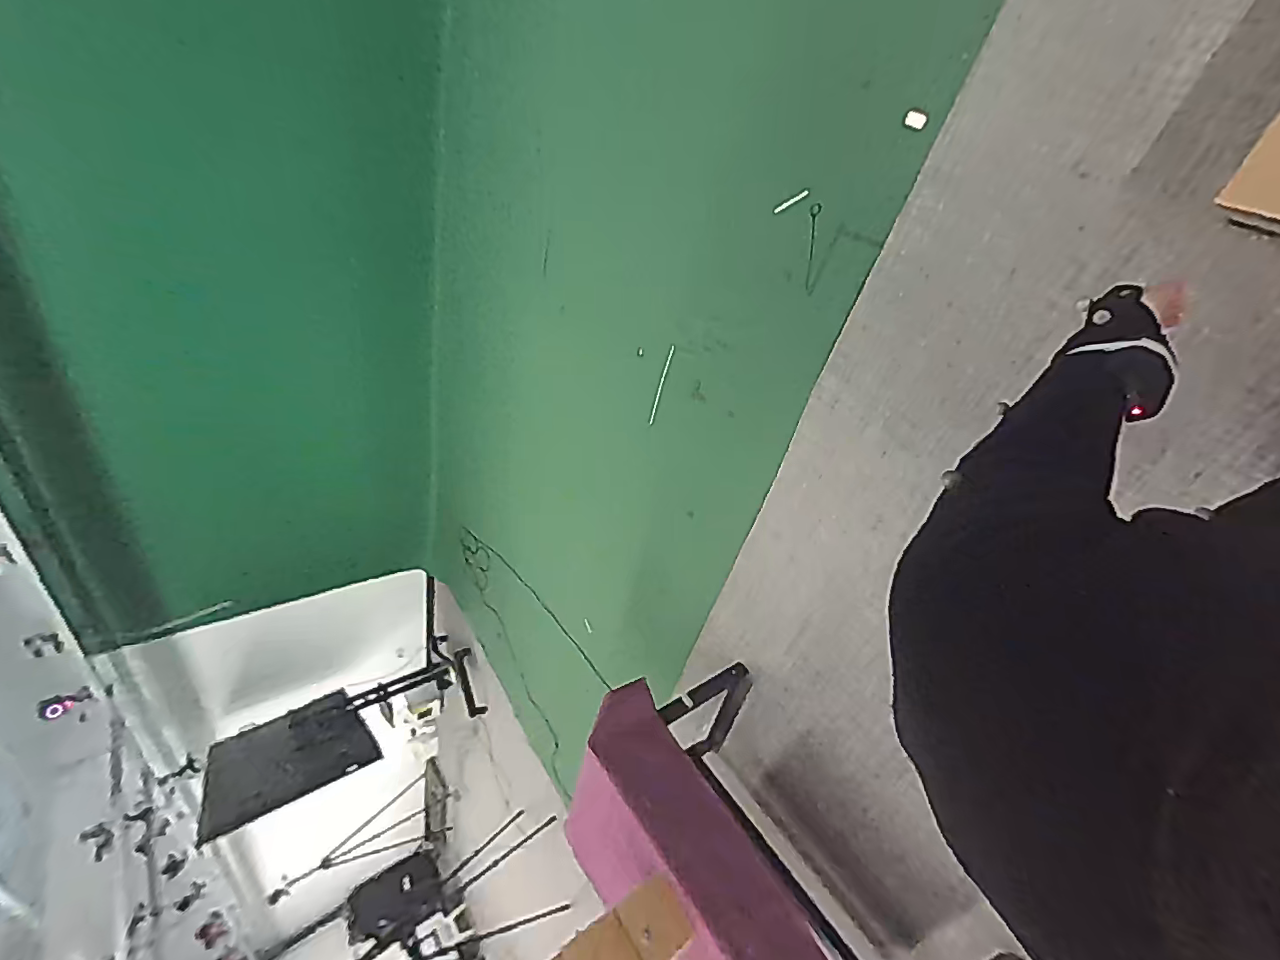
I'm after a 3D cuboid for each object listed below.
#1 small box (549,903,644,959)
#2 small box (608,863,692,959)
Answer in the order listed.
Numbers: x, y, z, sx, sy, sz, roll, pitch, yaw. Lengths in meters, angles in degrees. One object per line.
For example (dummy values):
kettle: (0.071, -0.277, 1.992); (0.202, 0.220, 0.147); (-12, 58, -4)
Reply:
small box: (-0.112, 1.248, 1.399); (0.179, 0.176, 0.168); (43, 132, 36)
small box: (0.018, 1.219, 1.494); (0.179, 0.176, 0.168); (45, 133, 36)
